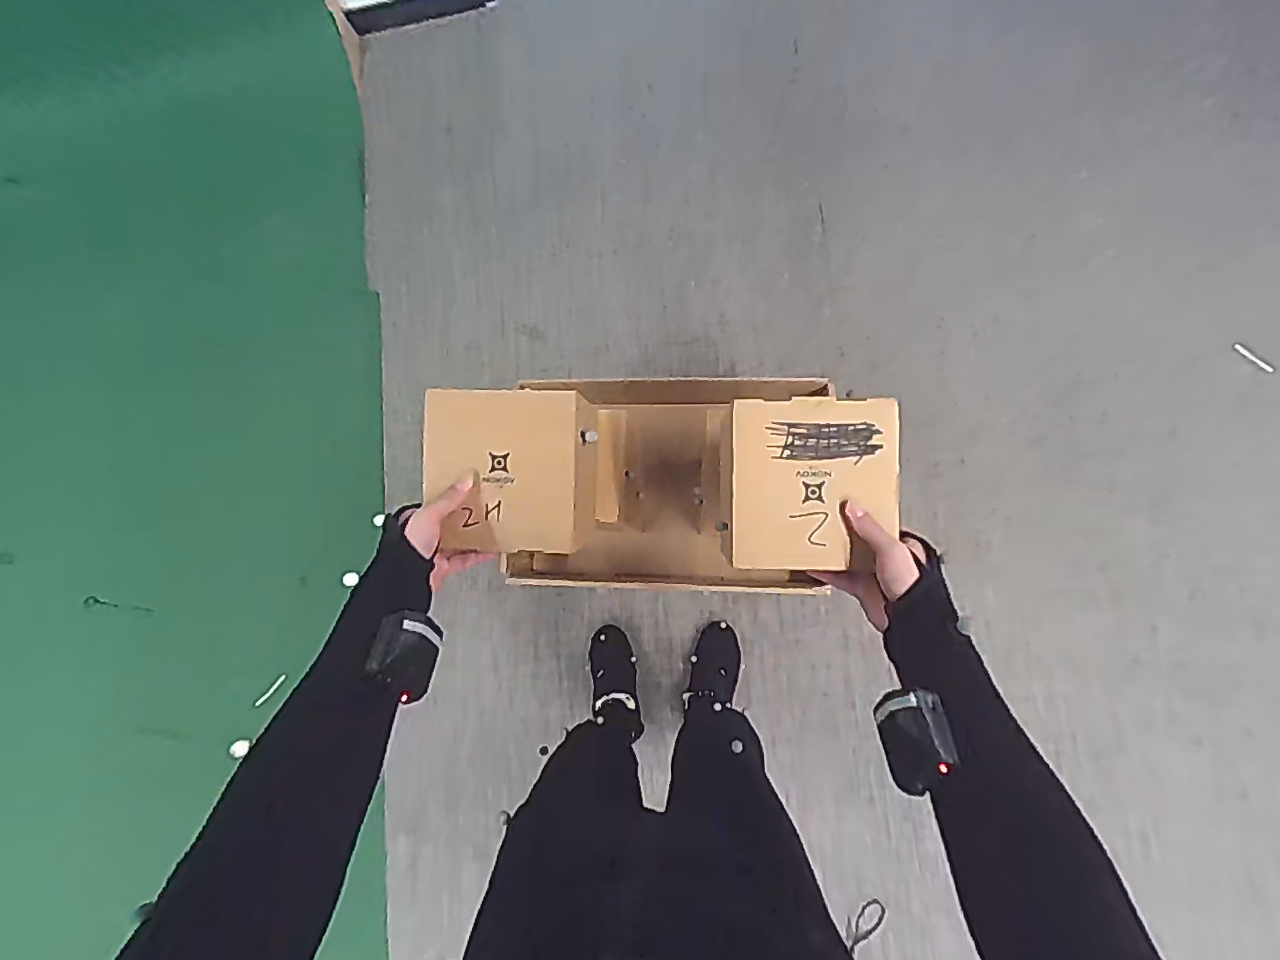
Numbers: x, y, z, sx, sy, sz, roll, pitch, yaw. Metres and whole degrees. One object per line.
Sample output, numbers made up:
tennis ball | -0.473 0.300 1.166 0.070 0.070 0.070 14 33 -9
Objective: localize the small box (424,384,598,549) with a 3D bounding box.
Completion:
small box | -0.145 -0.014 0.664 0.168 0.176 0.179 2 89 4

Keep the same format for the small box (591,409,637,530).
small box | -0.097 -0.012 0.914 0.168 0.176 0.179 2 82 7

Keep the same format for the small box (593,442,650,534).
small box | -0.080 0.016 1.074 0.179 0.176 0.168 4 82 7

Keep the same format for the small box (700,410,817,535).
small box | 0.185 -0.005 0.872 0.168 0.176 0.179 2 80 7
